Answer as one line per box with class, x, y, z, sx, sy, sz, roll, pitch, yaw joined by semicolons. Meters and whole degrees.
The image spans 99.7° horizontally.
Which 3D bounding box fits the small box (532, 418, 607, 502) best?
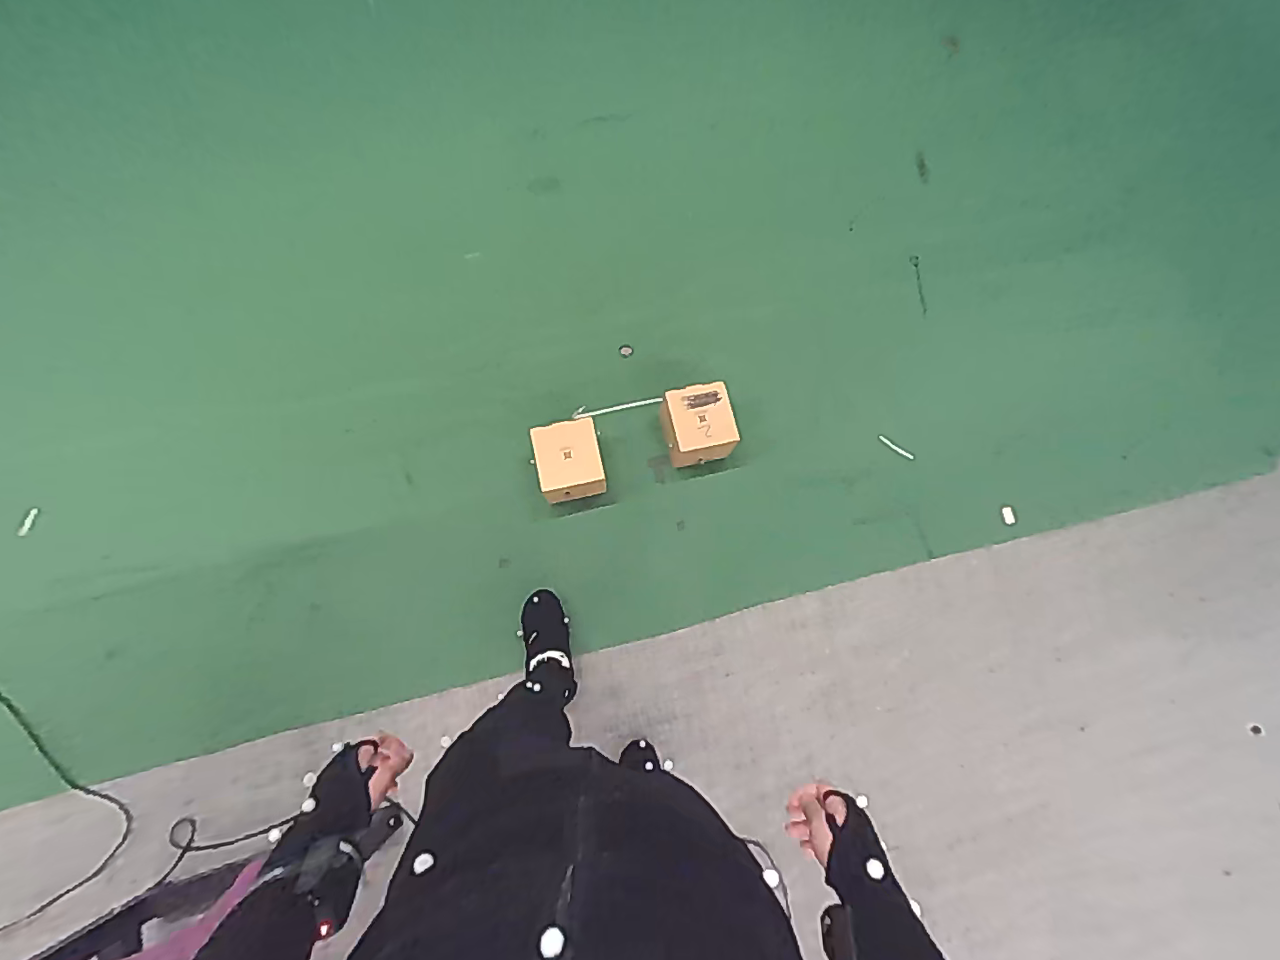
small box;-0.186;-0.045;1.464;0.168;0.176;0.179;-12;76;-6
